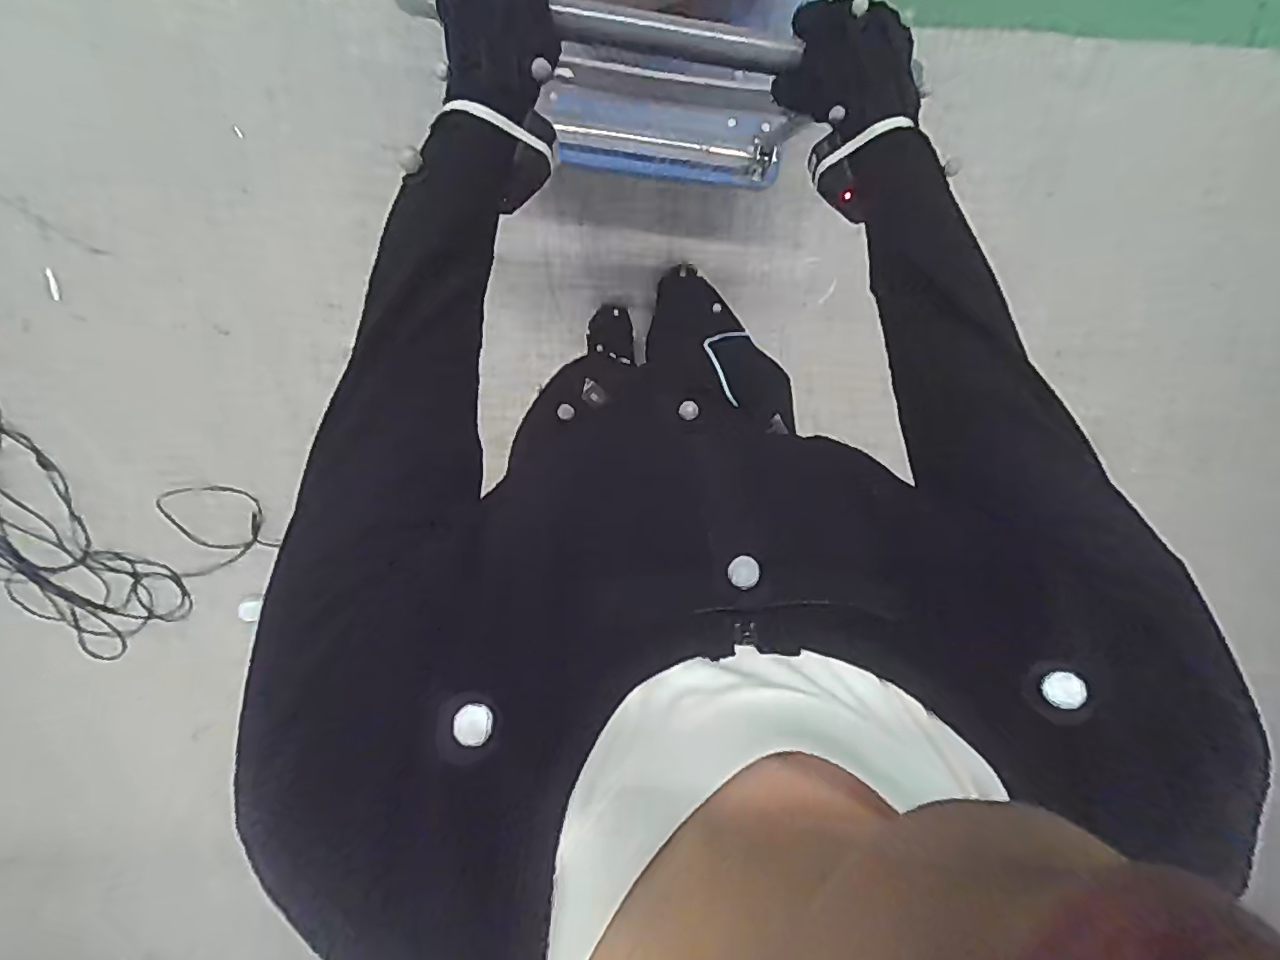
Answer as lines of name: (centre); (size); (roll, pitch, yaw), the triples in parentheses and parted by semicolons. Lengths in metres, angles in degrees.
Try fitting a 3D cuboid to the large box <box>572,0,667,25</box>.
large box: (0.045, -0.985, 0.817); (0.408, 0.320, 0.320); (-14, 110, 4)
